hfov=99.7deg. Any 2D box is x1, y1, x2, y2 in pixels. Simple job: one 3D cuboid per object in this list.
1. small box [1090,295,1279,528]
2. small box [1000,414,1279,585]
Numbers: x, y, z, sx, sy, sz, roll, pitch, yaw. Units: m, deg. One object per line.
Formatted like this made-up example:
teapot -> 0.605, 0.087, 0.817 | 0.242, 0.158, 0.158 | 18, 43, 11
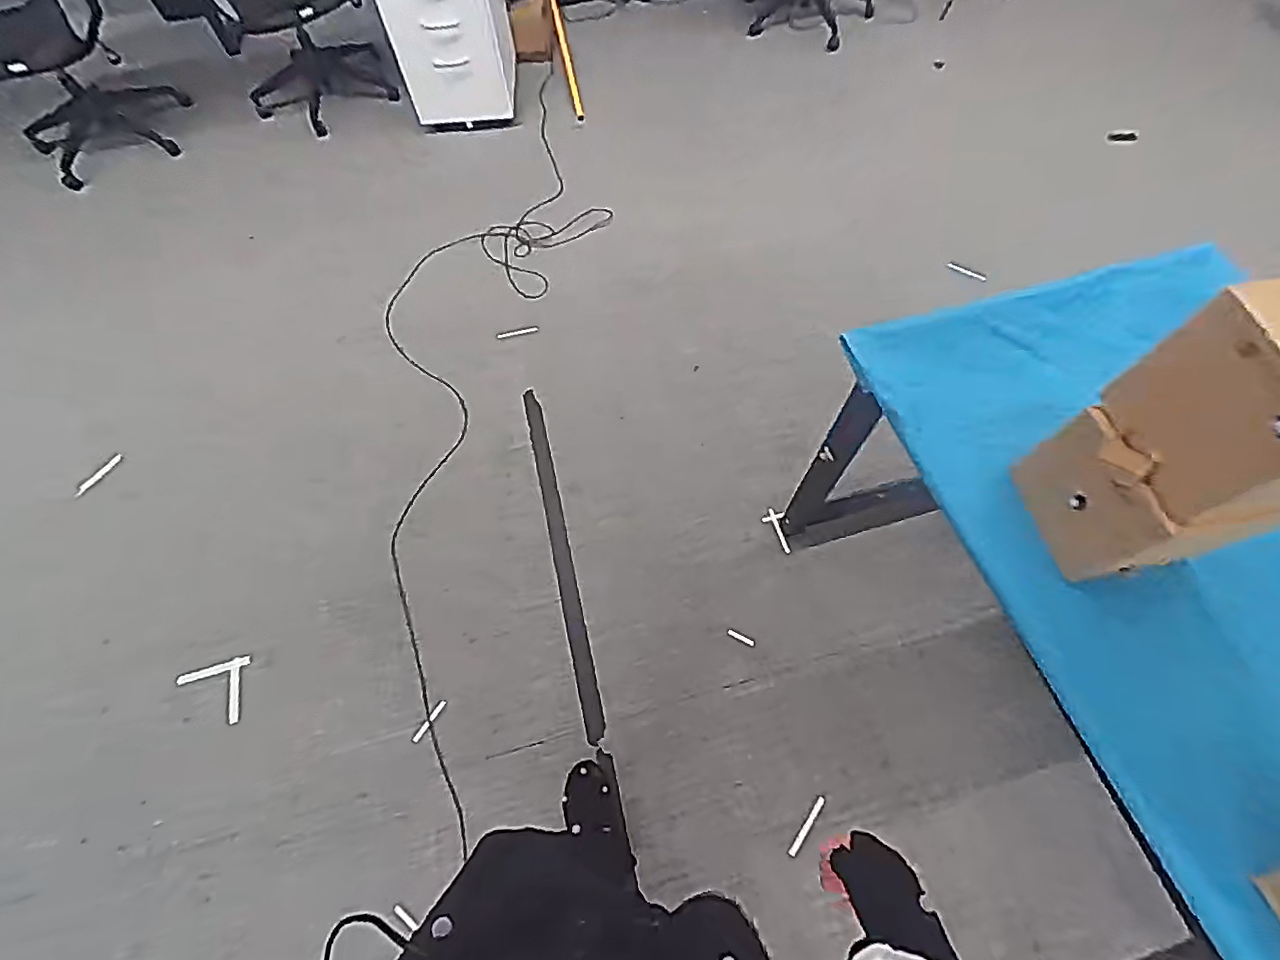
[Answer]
small box -> 0.617, -0.067, 0.526 | 0.179, 0.176, 0.168 | -7, 64, -1
small box -> 0.610, 0.015, 0.669 | 0.179, 0.176, 0.168 | -10, 64, -4
